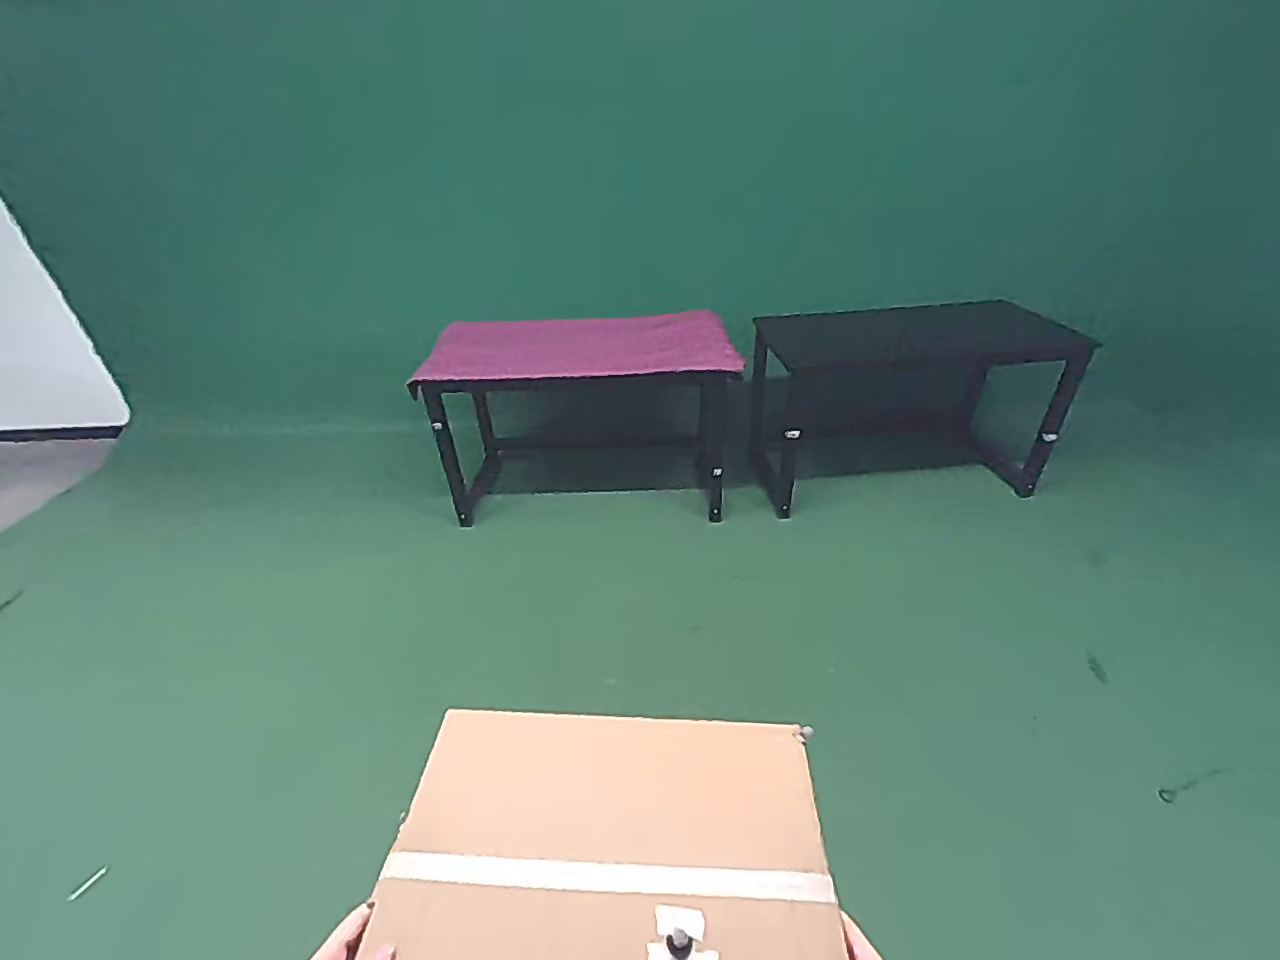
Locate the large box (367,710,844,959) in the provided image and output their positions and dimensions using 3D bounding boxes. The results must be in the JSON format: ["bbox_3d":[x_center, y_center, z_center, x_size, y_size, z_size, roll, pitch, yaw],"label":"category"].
[{"bbox_3d":[-0.028,0.484,0.585,0.408,0.320,0.320,2,36,2],"label":"large box"}]
